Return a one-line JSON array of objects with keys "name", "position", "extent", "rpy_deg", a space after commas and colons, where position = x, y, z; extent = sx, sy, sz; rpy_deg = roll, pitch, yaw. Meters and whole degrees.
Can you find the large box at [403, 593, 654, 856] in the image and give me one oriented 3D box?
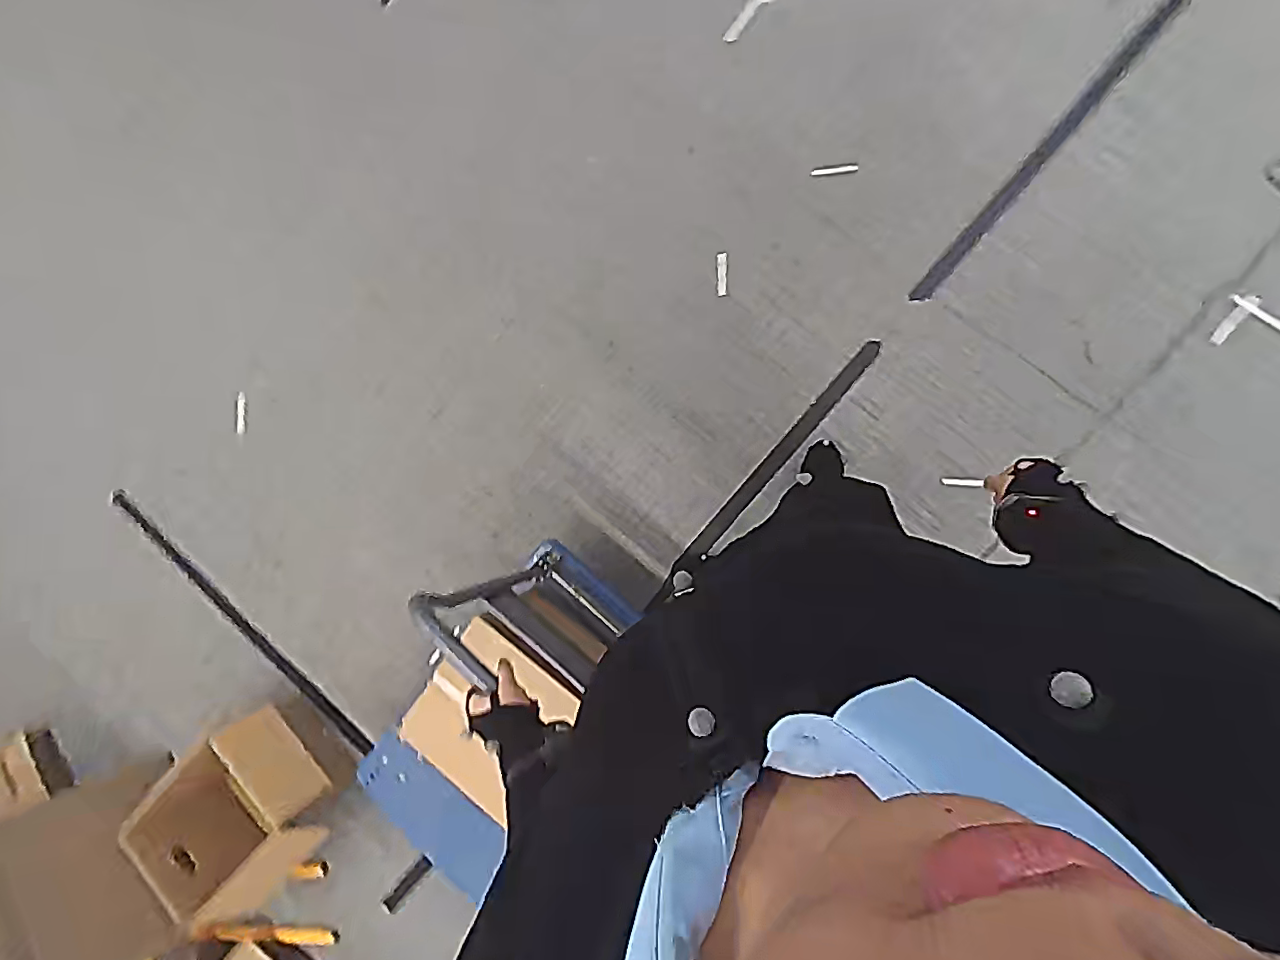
[{"name": "large box", "position": [-0.231, 0.523, 1.241], "extent": [0.408, 0.320, 0.320], "rpy_deg": [36, 95, 9]}]
